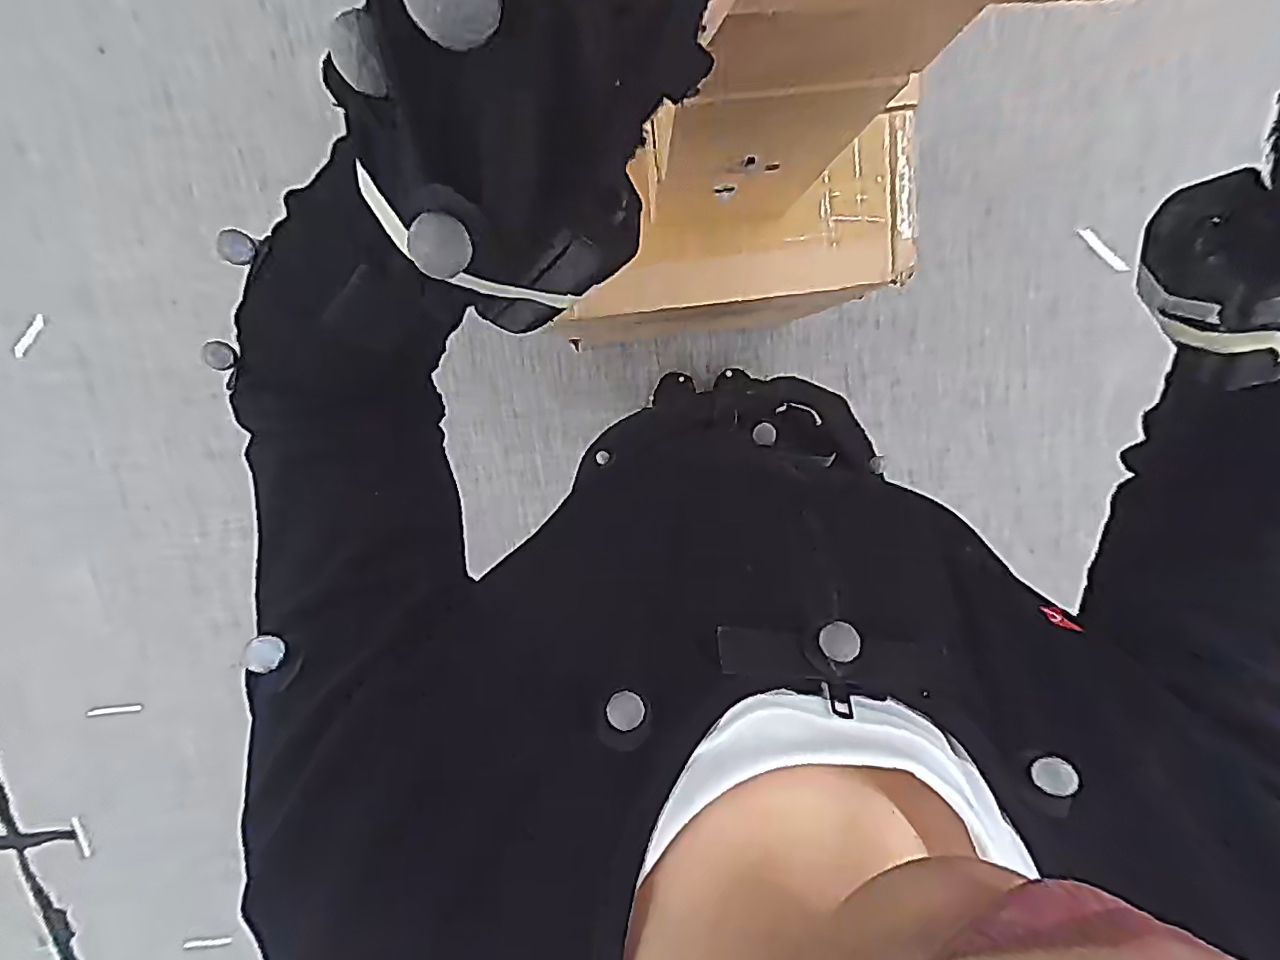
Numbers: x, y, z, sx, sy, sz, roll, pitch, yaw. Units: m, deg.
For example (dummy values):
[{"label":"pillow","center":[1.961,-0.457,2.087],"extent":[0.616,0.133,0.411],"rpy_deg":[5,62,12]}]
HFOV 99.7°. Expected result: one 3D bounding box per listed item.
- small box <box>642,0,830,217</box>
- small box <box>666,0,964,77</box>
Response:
[{"label":"small box","center":[0.095,-0.404,0.597],"extent":[0.179,0.176,0.168],"rpy_deg":[-5,101,0]},{"label":"small box","center":[0.103,-0.343,0.274],"extent":[0.179,0.176,0.168],"rpy_deg":[-5,101,1]}]
